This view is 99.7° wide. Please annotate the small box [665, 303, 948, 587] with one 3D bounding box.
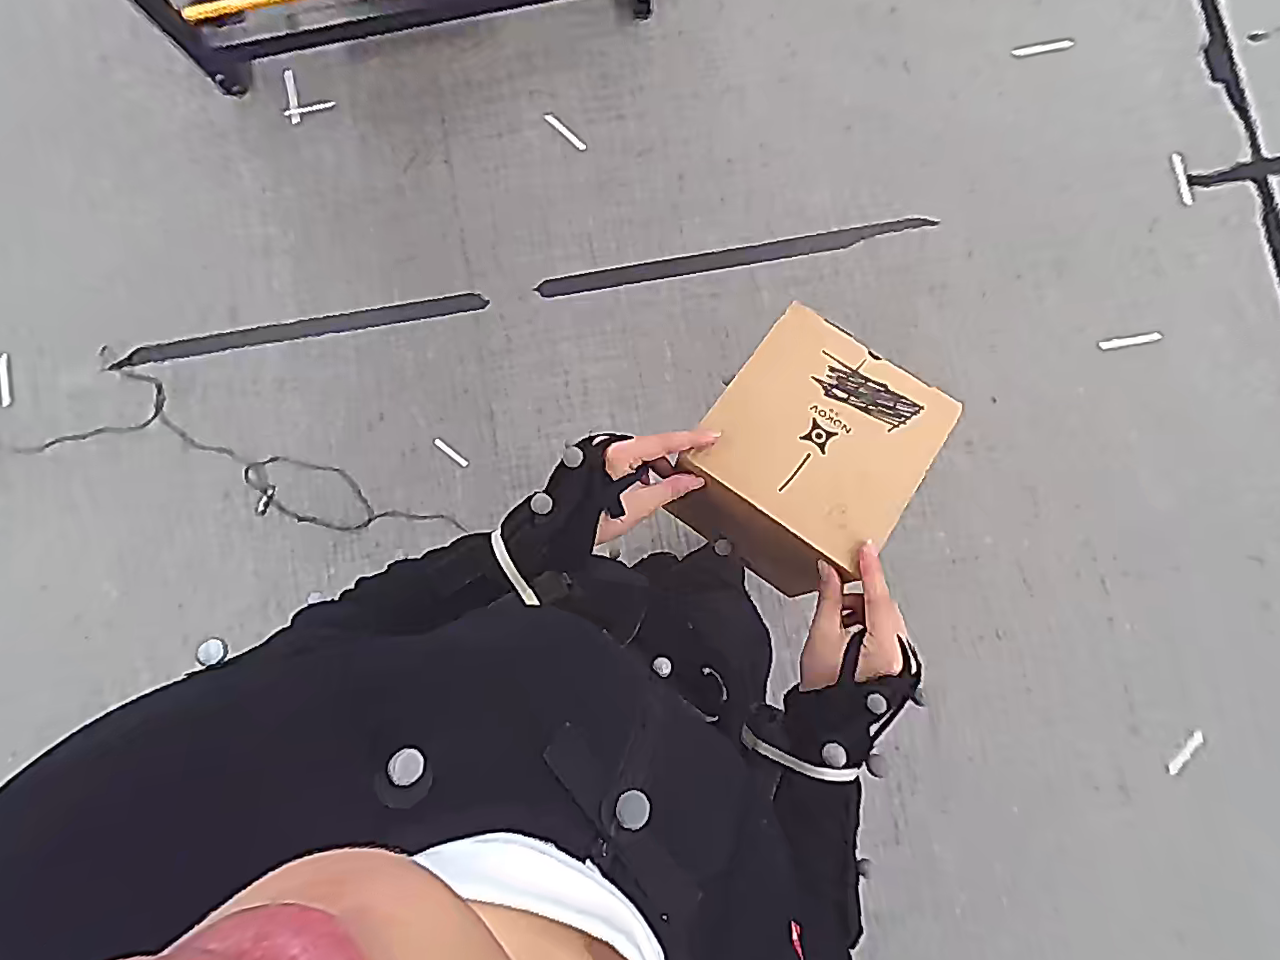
[{"bbox_3d":[0.136,-0.020,0.508,0.168,0.176,0.179,35,75,8],"label":"small box"}]
